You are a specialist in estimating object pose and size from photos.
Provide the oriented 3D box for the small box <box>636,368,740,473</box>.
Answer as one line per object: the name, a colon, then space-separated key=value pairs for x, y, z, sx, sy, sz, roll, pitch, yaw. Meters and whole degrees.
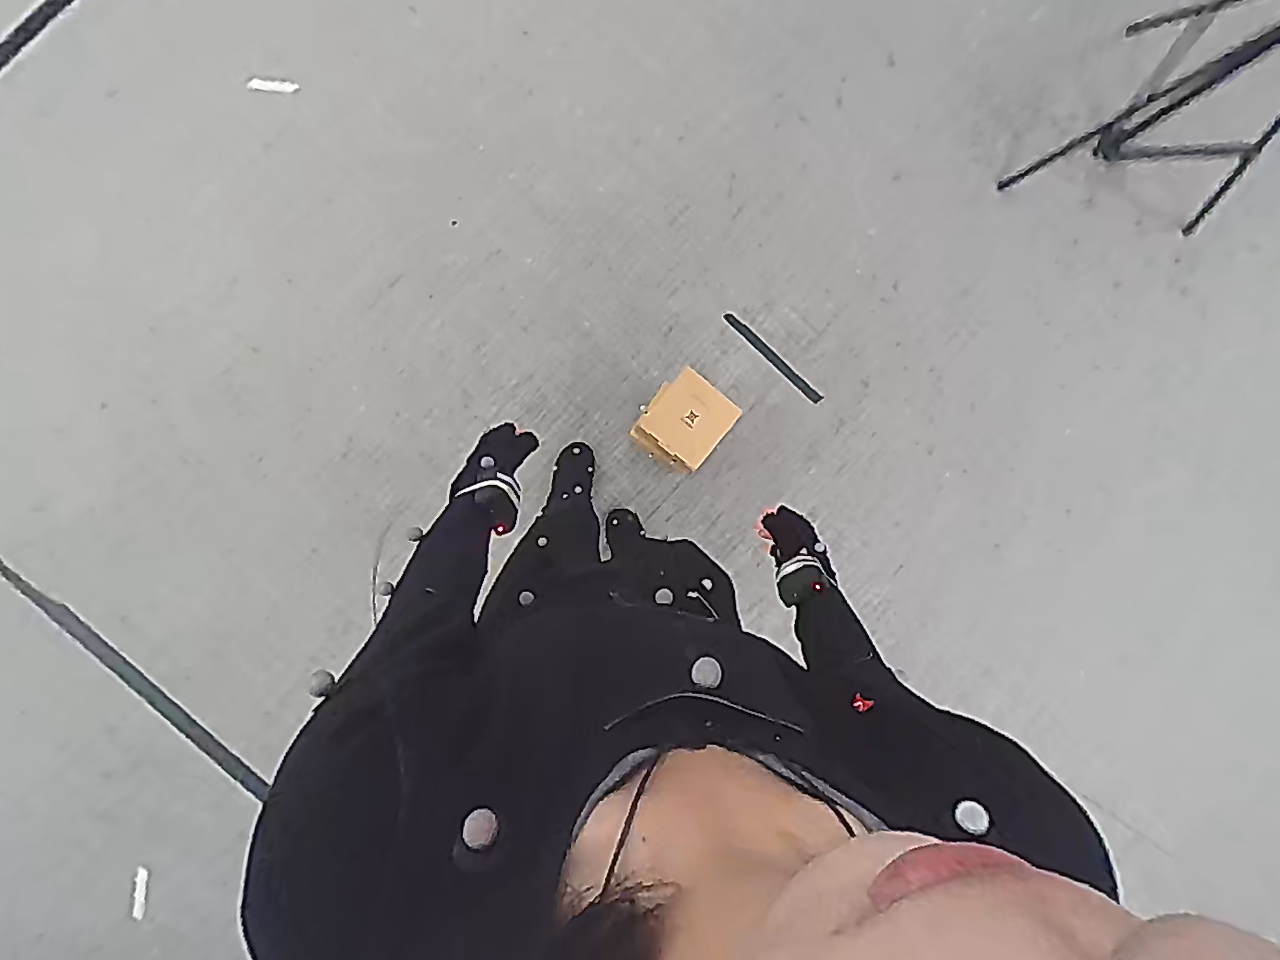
small box: x=0.104 y=-0.132 z=1.269 sx=0.168 sy=0.176 sz=0.179 roll=39 pitch=87 yaw=-4

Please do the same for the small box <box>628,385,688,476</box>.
small box: x=0.083 y=-0.126 z=1.430 sx=0.179 sy=0.176 sz=0.168 roll=36 pitch=88 yaw=-2
